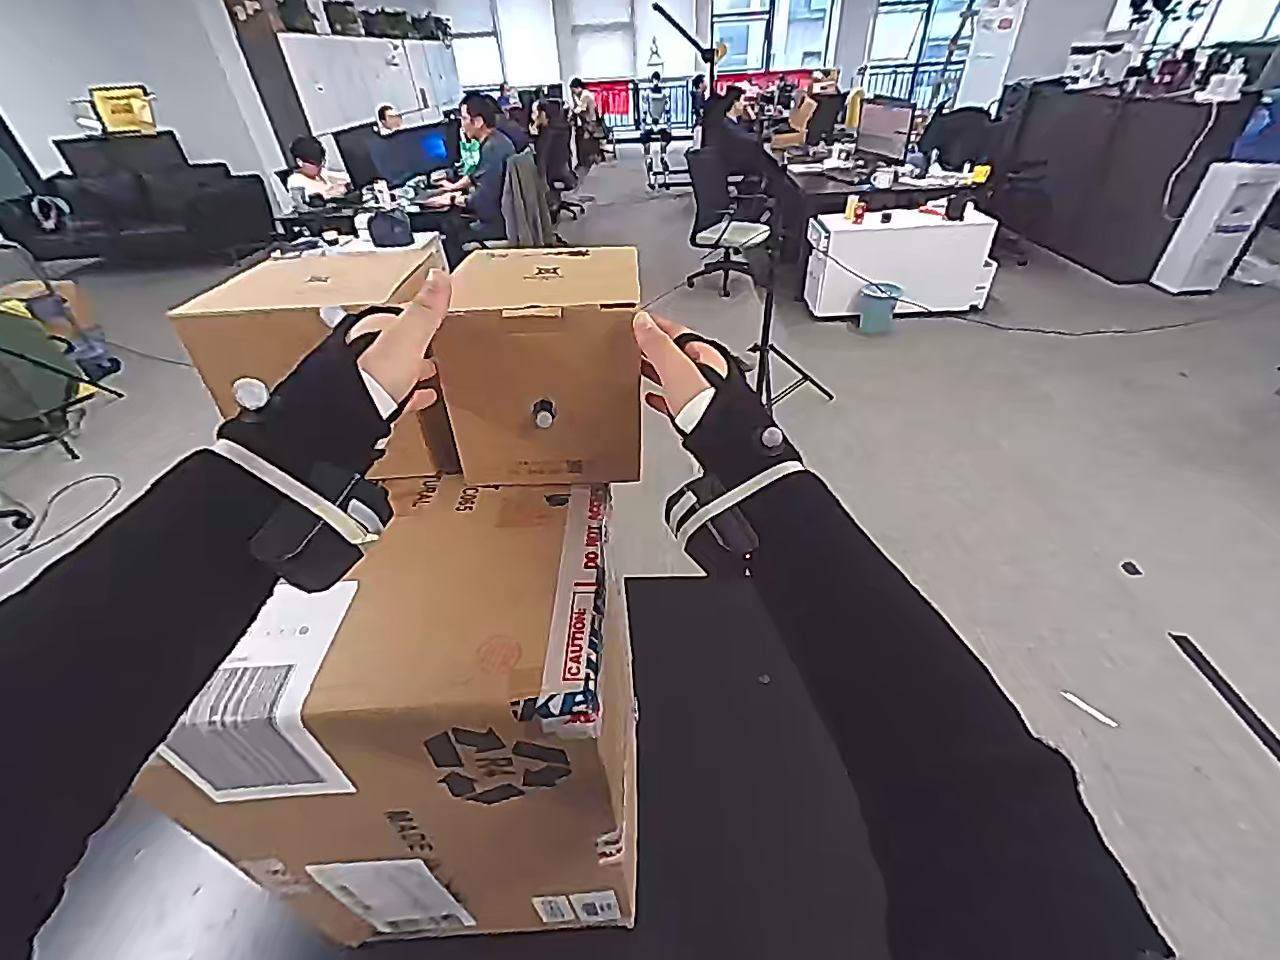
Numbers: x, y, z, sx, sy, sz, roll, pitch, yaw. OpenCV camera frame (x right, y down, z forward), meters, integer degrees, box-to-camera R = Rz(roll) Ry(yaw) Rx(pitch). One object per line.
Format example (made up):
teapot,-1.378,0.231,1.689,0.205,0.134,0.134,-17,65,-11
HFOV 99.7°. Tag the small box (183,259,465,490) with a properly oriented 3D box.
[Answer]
small box,-0.283,-0.109,0.539,0.168,0.176,0.179,-5,36,-3
